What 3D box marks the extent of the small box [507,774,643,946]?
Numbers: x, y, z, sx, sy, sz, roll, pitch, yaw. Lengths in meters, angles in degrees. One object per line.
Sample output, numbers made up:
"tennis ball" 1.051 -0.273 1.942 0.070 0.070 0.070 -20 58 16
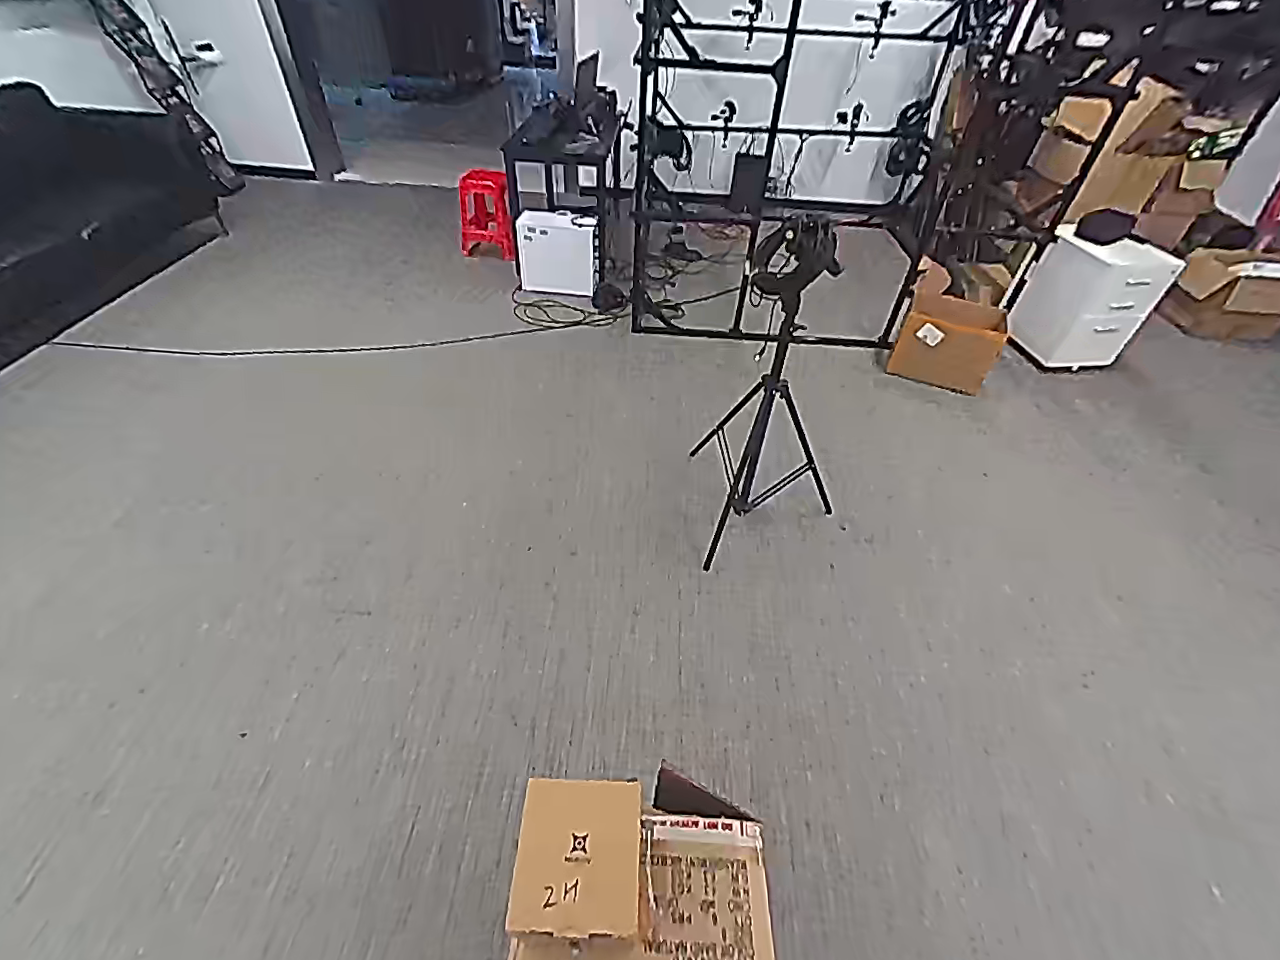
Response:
"small box" -0.083 0.549 0.782 0.168 0.176 0.179 2 46 1
